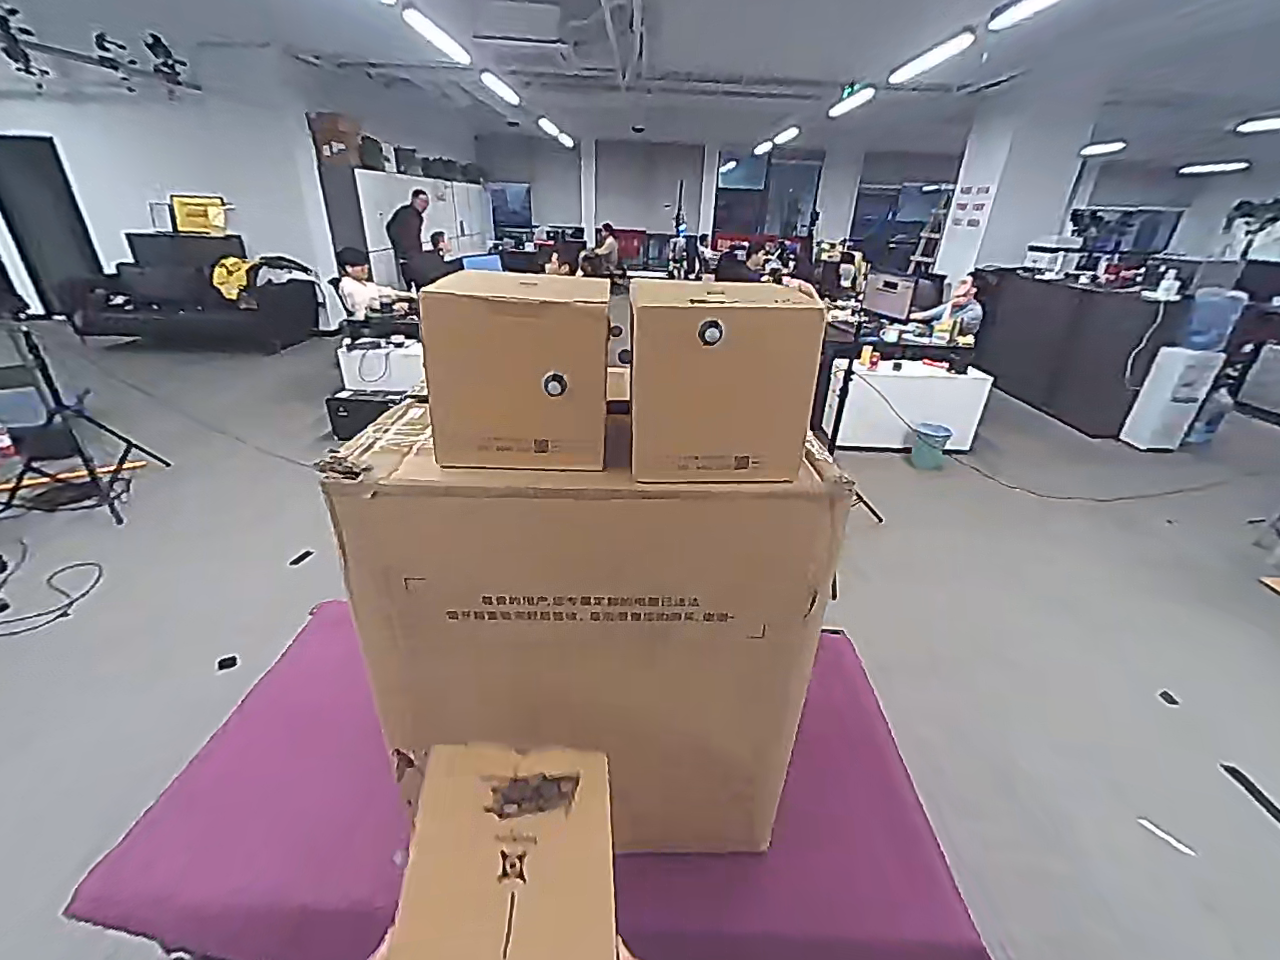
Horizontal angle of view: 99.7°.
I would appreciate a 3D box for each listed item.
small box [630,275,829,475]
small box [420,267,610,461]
[{"bbox_3d":[0.075,-0.116,0.565,0.168,0.176,0.179,0,26,-3],"label":"small box"},{"bbox_3d":[-0.117,-0.127,0.576,0.168,0.176,0.179,3,25,-5],"label":"small box"}]
